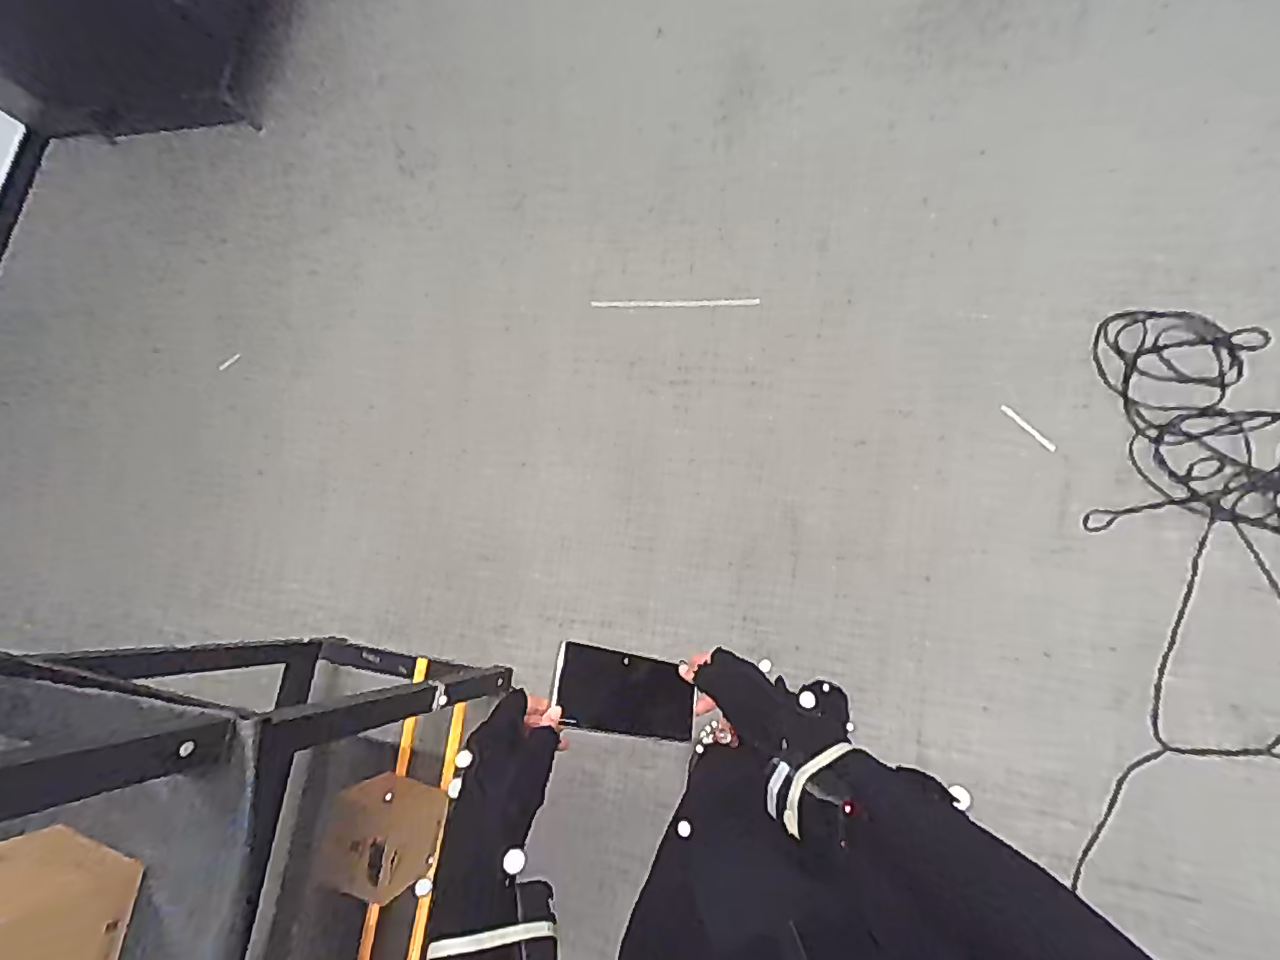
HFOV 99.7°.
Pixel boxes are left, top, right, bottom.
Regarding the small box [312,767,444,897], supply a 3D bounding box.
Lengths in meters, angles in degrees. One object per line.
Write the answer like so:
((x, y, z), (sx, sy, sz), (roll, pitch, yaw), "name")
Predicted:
((-0.559, 0.751, 1.178), (0.179, 0.176, 0.168), (8, 79, 15), "small box")
